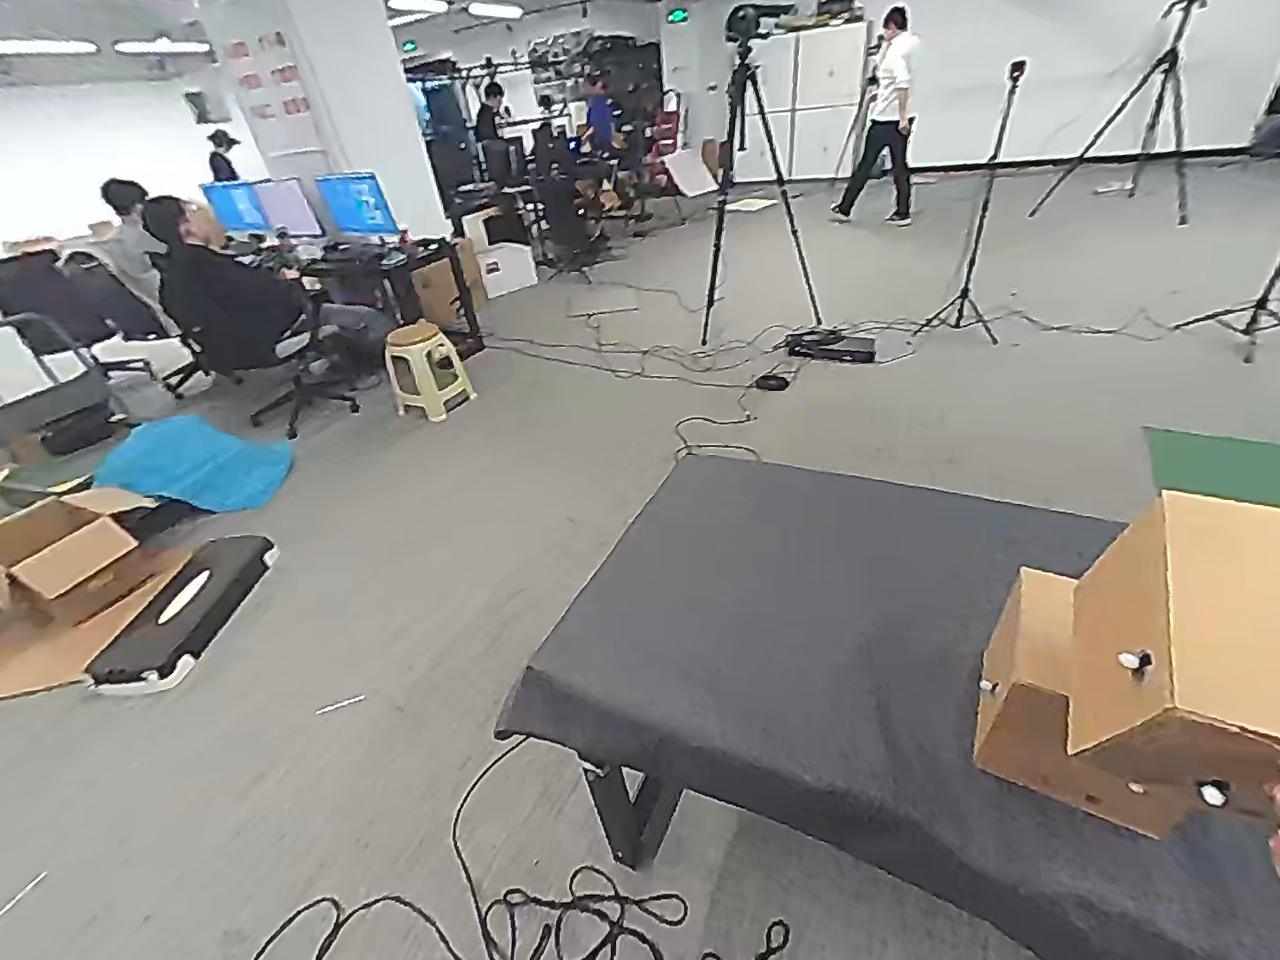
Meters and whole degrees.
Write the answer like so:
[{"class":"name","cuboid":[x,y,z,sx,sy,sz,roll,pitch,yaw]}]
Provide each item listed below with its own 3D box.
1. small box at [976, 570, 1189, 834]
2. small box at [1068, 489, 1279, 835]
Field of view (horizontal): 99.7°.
[{"class":"small box","cuboid":[0.484,0.236,0.589,0.168,0.176,0.179,15,40,27]},{"class":"small box","cuboid":[0.453,0.138,0.405,0.168,0.176,0.179,14,59,24]}]
